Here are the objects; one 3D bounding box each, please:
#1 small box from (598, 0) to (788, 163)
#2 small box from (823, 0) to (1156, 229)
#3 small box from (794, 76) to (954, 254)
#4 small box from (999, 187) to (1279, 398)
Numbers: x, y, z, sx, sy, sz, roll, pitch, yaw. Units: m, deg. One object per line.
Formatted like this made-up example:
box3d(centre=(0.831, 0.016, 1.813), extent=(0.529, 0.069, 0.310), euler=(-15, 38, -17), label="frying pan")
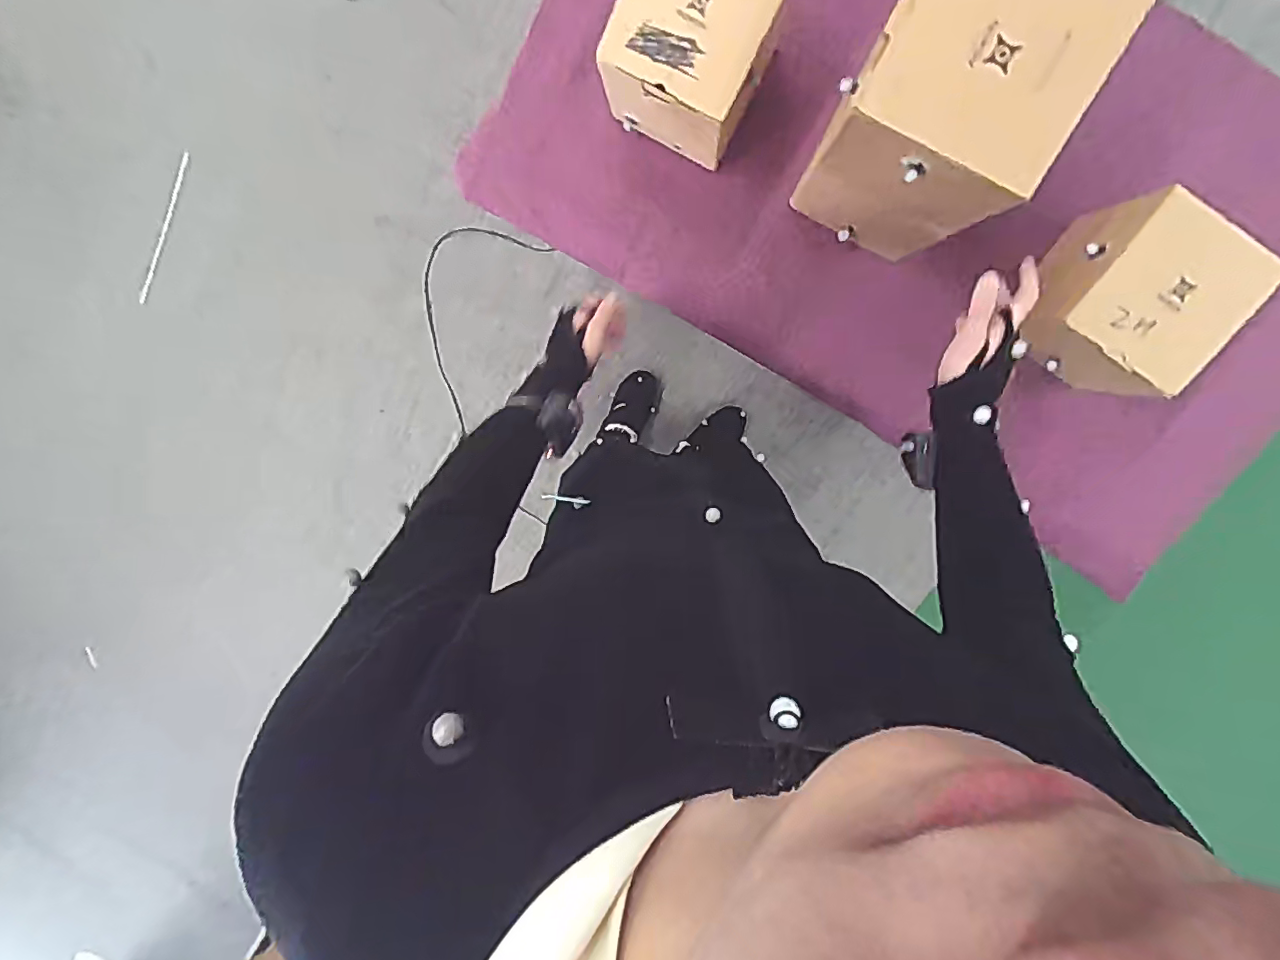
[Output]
box3d(centre=(0.070, -0.535, 0.670), extent=(0.168, 0.176, 0.179), euler=(28, 103, -2), label="small box")
box3d(centre=(0.303, -0.368, 0.521), extent=(0.179, 0.176, 0.168), euler=(28, 105, -1), label="small box")
box3d(centre=(0.321, -0.404, 0.679), extent=(0.179, 0.176, 0.168), euler=(28, 104, -2), label="small box")
box3d(centre=(0.617, -0.227, 0.692), extent=(0.168, 0.176, 0.179), euler=(34, 104, -2), label="small box")
